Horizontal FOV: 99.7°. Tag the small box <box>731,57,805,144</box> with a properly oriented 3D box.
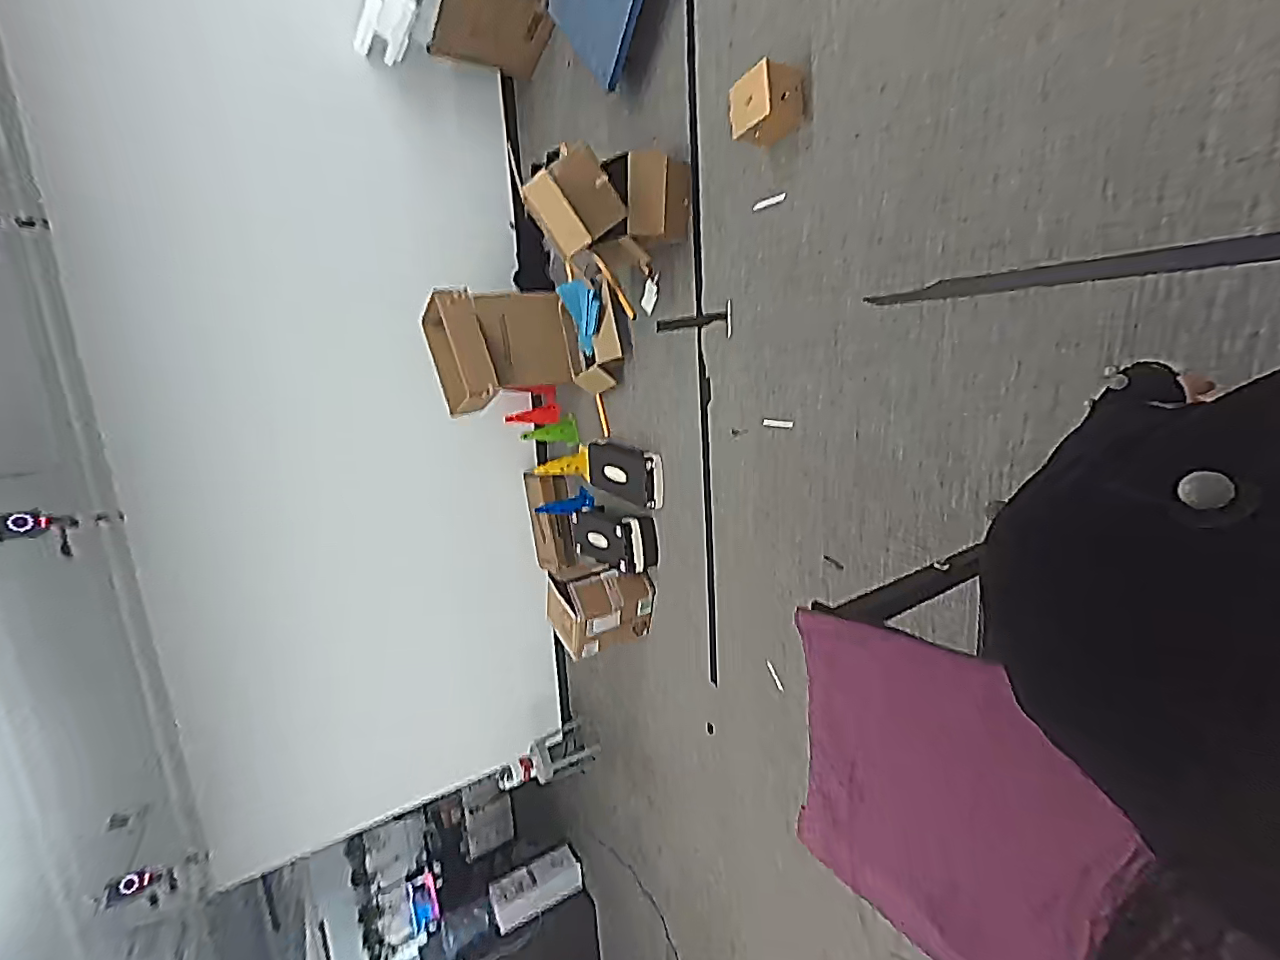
[{"bbox_3d":[0.429,-1.247,1.788,0.179,0.176,0.168,3,101,59],"label":"small box"}]
